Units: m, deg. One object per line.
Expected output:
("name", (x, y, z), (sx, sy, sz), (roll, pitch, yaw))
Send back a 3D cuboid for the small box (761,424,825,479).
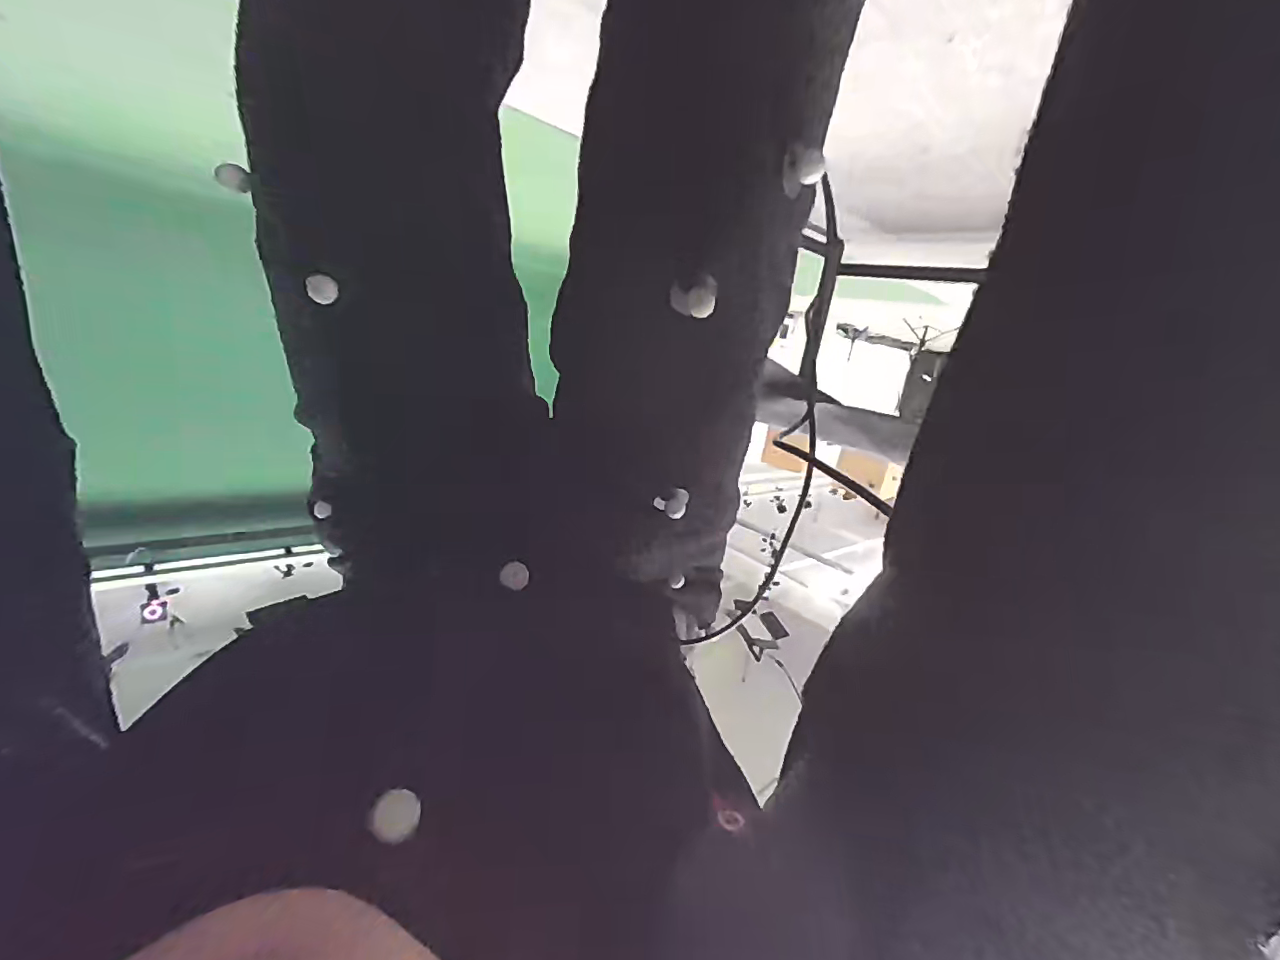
("small box", (0.590, -0.116, 2.079), (0.179, 0.176, 0.168), (17, -162, 31))
